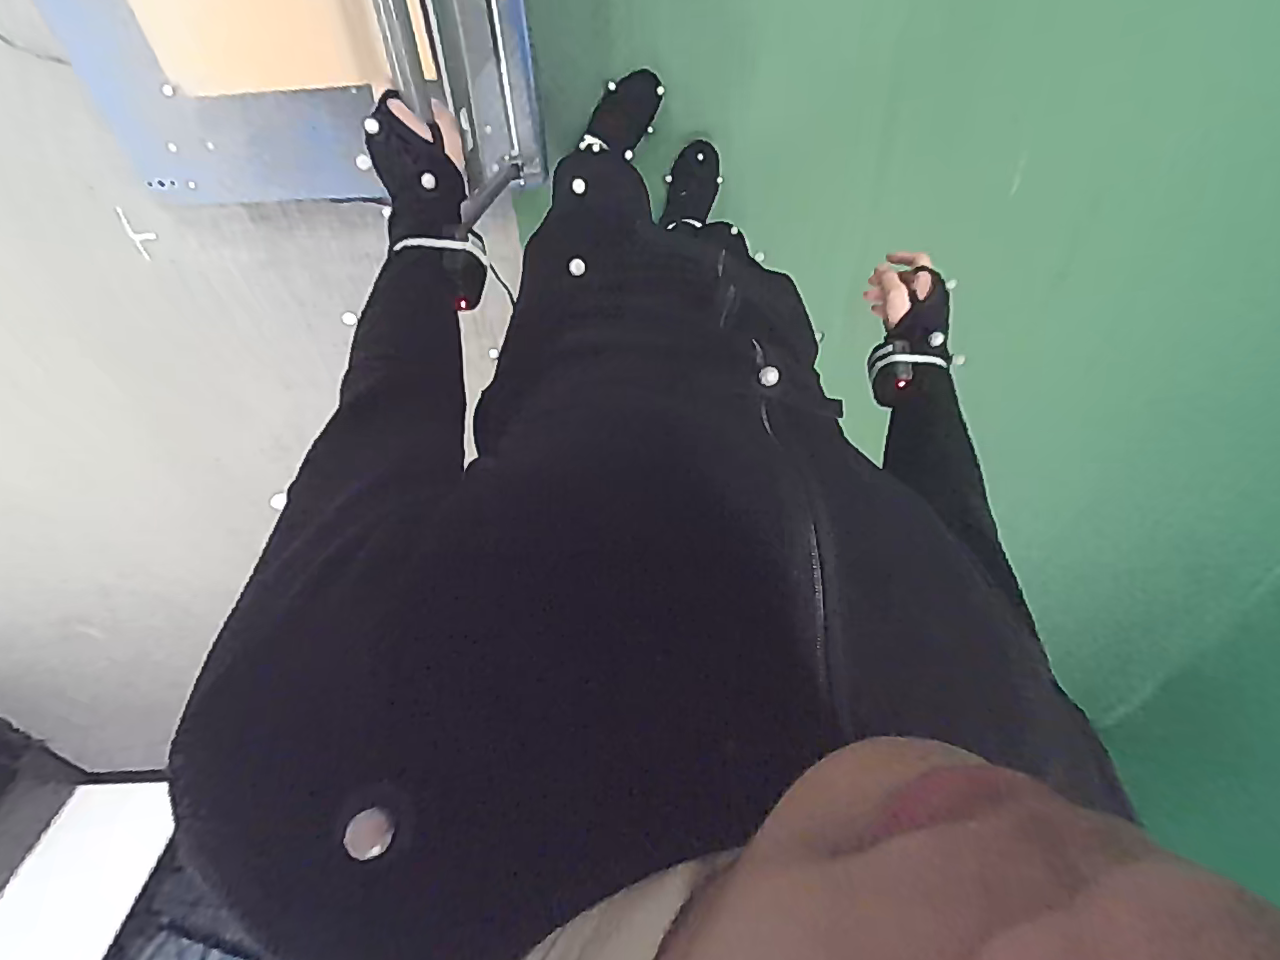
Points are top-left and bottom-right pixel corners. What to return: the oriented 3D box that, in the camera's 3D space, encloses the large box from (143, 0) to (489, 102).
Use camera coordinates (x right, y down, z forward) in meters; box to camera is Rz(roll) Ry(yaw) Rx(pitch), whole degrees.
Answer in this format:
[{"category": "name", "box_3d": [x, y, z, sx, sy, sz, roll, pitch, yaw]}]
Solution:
[{"category": "large box", "box_3d": [-0.493, -0.801, 0.835, 0.408, 0.320, 0.320, -3, 129, 1]}]
